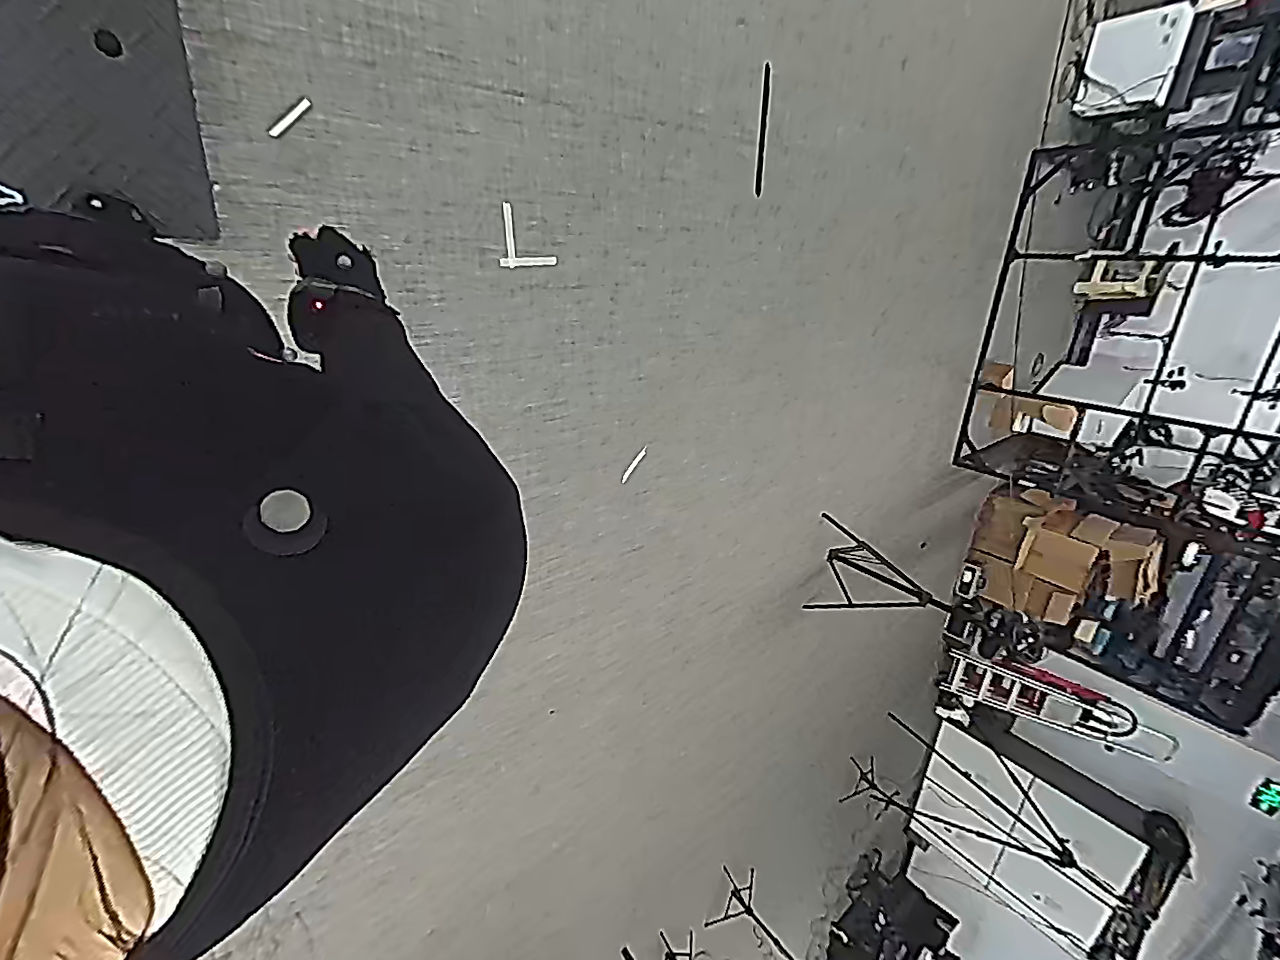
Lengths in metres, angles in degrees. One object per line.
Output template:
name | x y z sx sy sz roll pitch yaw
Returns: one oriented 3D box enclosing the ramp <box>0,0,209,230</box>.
ramp | -0.952 -0.878 0.690 0.509 0.206 0.991 -16 119 -37
